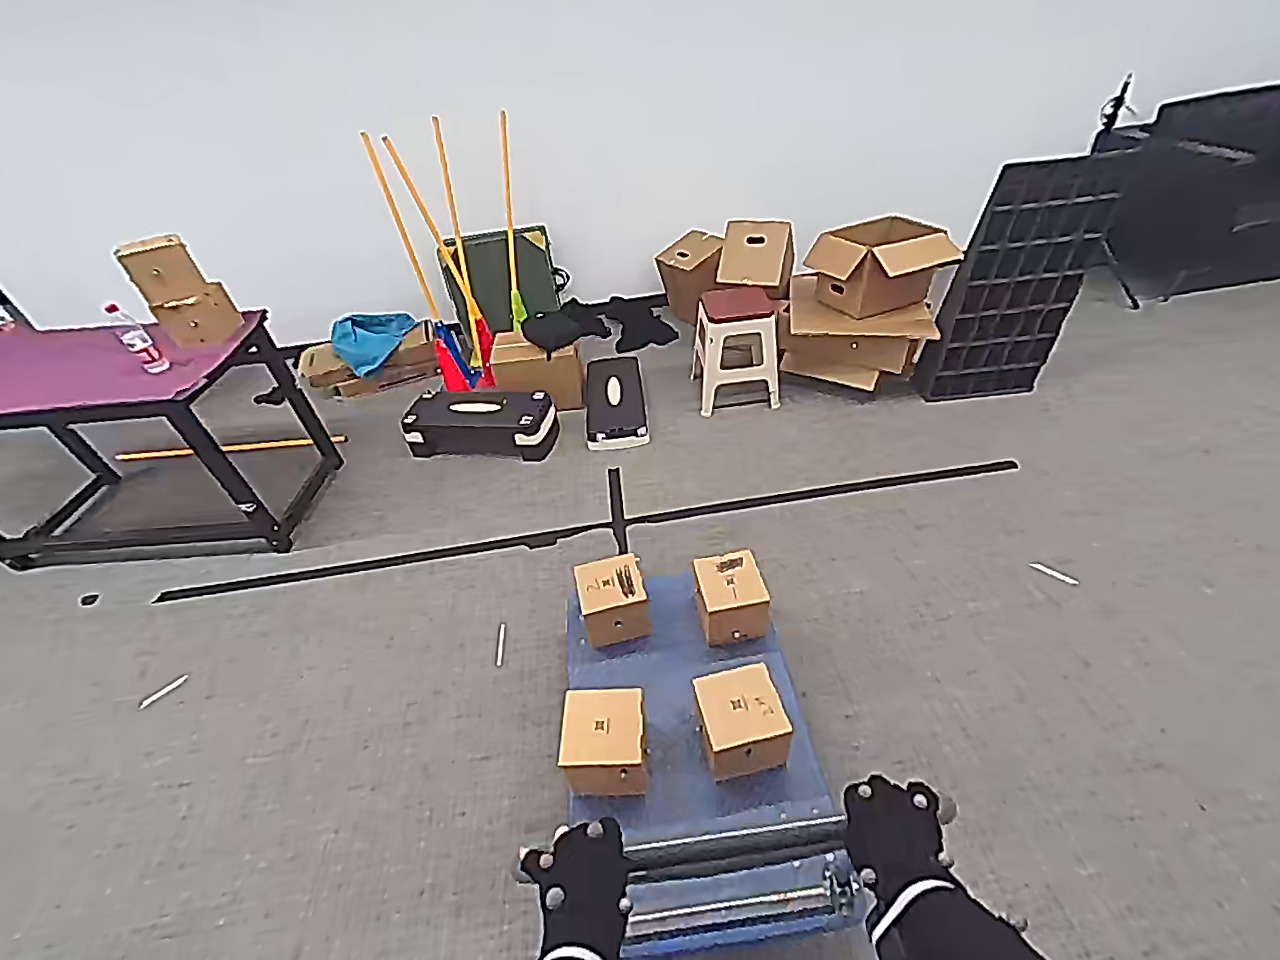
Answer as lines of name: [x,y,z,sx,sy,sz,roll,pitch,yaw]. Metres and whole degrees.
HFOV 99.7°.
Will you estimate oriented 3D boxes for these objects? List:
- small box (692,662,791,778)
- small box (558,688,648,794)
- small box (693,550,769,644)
small box: [0.225,0.546,1.225,0.179,0.176,0.168,-12,42,-5]
small box: [-0.076,0.590,1.219,0.179,0.176,0.168,-3,41,2]
small box: [0.242,0.320,1.478,0.168,0.176,0.179,-10,43,-3]
